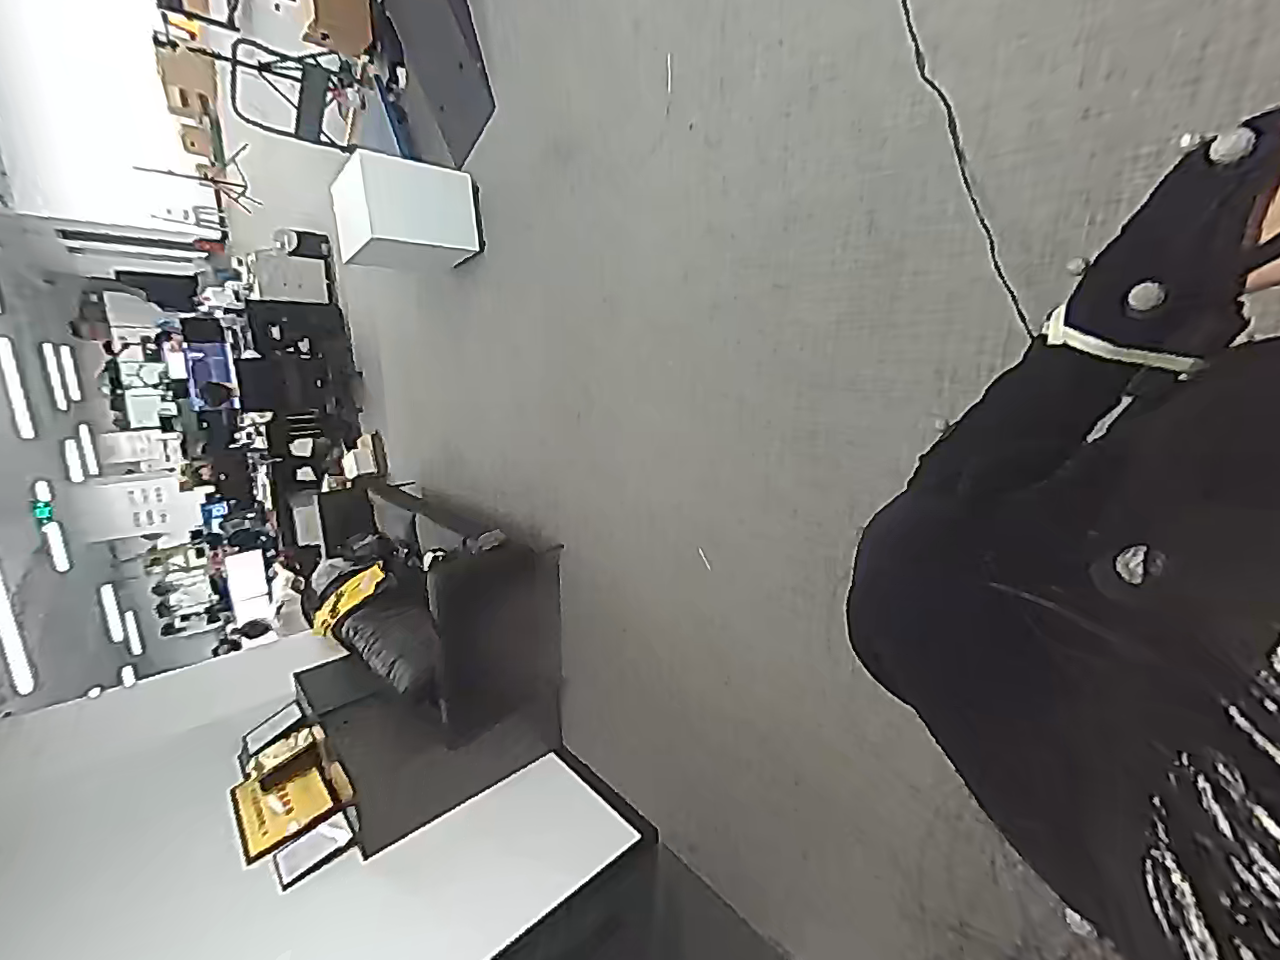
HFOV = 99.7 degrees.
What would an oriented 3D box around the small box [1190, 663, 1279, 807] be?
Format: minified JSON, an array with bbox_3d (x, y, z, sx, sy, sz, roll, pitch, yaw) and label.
[{"bbox_3d":[1.170,0.478,1.011,0.168,0.176,0.179,14,109,46],"label":"small box"}]
